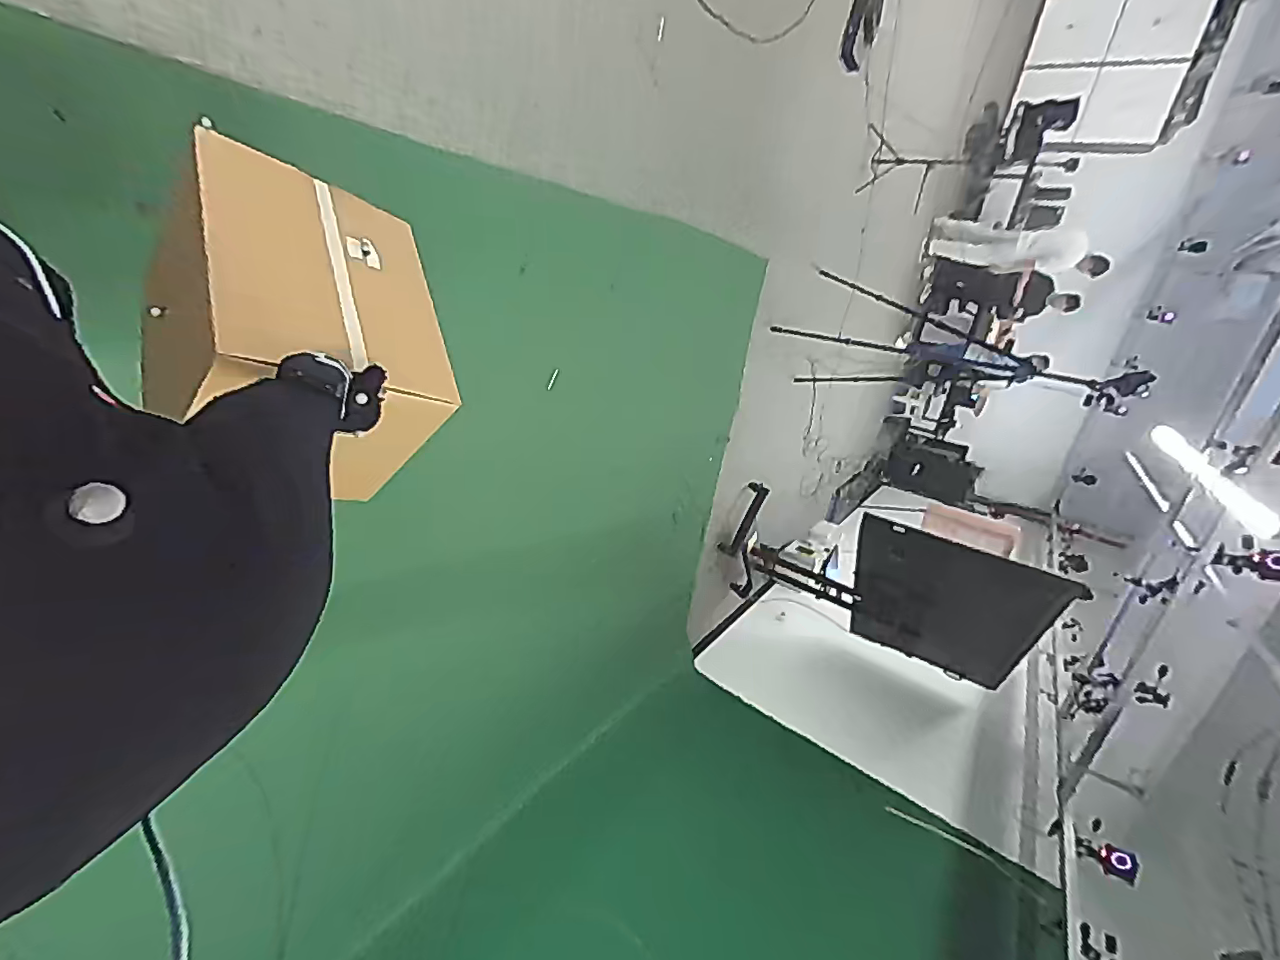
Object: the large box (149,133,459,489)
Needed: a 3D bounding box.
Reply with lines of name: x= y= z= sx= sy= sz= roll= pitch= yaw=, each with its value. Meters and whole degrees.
large box: x=-0.552 y=-0.229 z=0.875 sx=0.320 sy=0.408 sz=0.320 roll=-35 pitch=156 yaw=30
